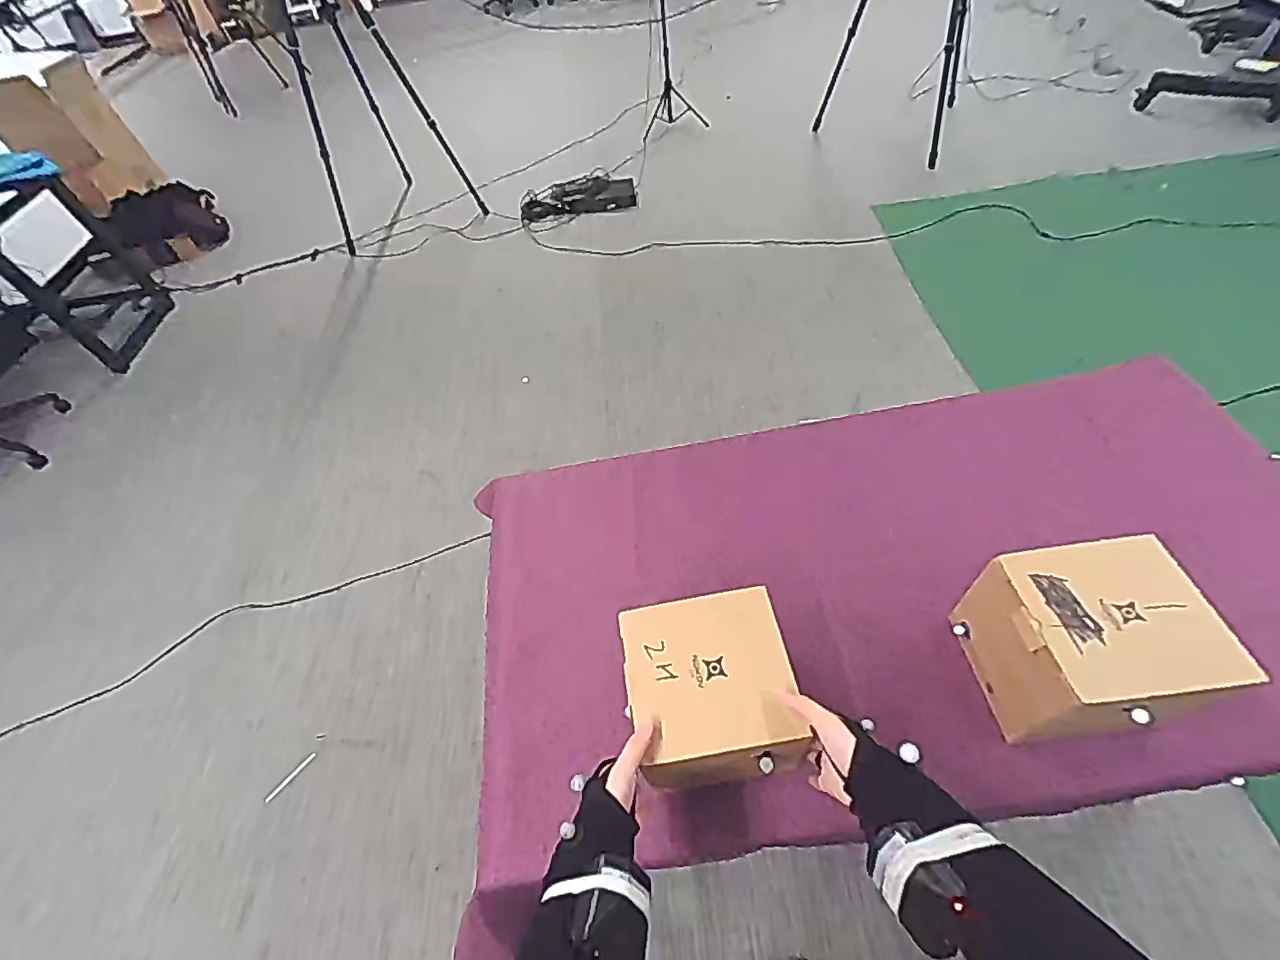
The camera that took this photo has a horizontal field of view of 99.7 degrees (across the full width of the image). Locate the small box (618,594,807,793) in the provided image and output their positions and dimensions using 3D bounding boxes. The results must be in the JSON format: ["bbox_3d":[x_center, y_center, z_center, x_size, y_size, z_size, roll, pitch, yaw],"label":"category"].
[{"bbox_3d":[0.077,0.256,0.637,0.179,0.176,0.168,-10,52,1],"label":"small box"}]

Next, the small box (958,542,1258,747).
[{"bbox_3d":[0.496,0.193,0.618,0.179,0.176,0.168,-8,52,2],"label":"small box"}]
